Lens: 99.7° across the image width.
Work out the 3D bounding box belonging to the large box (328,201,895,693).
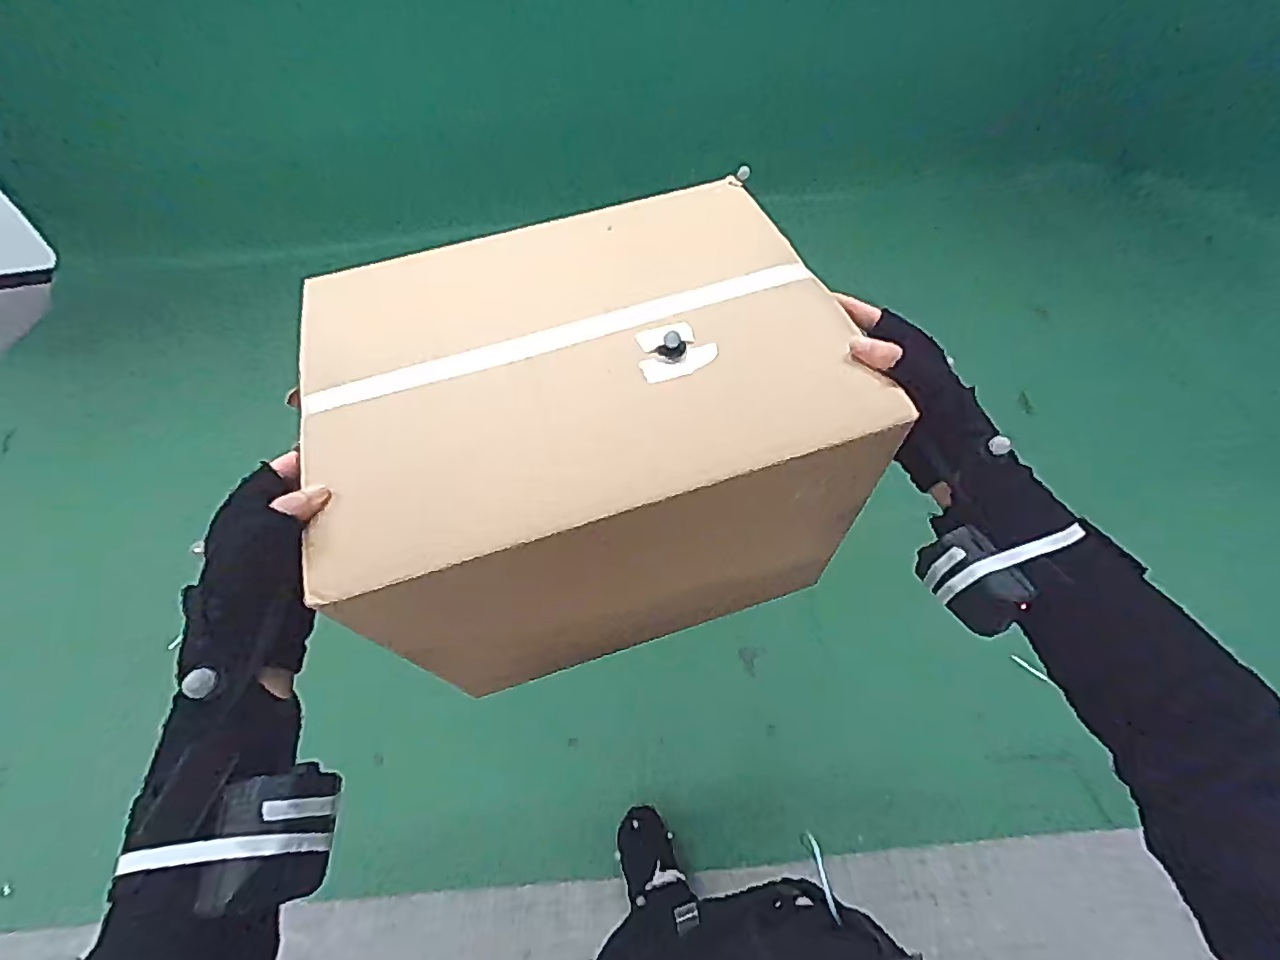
[{"bbox_3d":[-0.043,-0.023,0.563,0.408,0.320,0.320,-17,59,-8],"label":"large box"}]
